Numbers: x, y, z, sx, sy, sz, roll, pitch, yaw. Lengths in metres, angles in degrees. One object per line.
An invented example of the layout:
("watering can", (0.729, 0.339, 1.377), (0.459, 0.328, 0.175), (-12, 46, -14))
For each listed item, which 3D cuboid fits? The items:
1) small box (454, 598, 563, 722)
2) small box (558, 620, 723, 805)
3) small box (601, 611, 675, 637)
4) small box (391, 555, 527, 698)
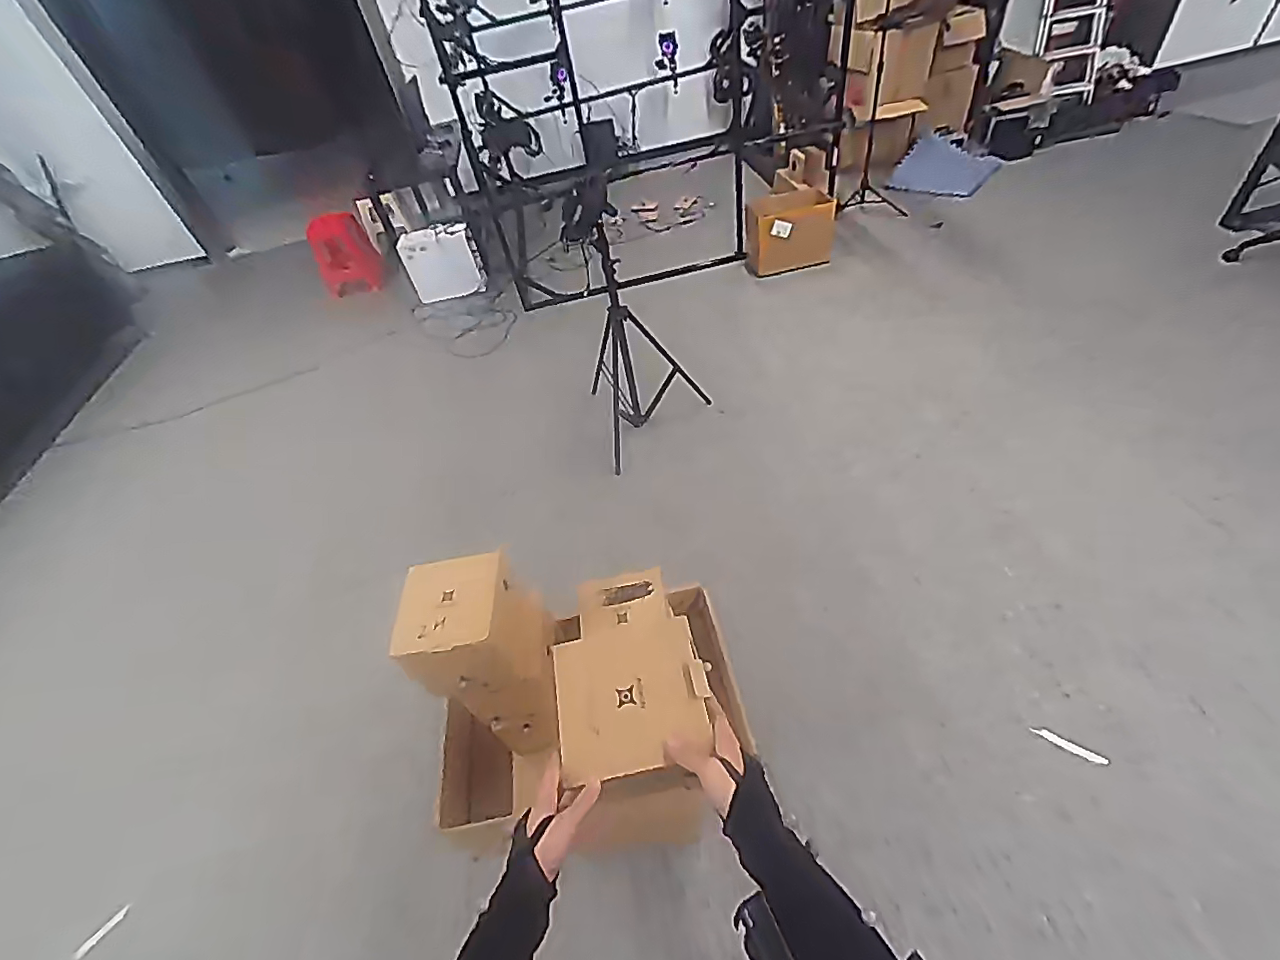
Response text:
("small box", (-0.251, 0.365, 1.077), (0.168, 0.176, 0.179), (-10, 45, 2))
("small box", (0.004, 0.304, 0.698), (0.179, 0.176, 0.168), (-14, 52, 1))
("small box", (0.017, 0.420, 1.196), (0.168, 0.176, 0.179), (-13, 46, 1))
("small box", (-0.306, 0.260, 0.959), (0.168, 0.176, 0.179), (-10, 46, 3))
